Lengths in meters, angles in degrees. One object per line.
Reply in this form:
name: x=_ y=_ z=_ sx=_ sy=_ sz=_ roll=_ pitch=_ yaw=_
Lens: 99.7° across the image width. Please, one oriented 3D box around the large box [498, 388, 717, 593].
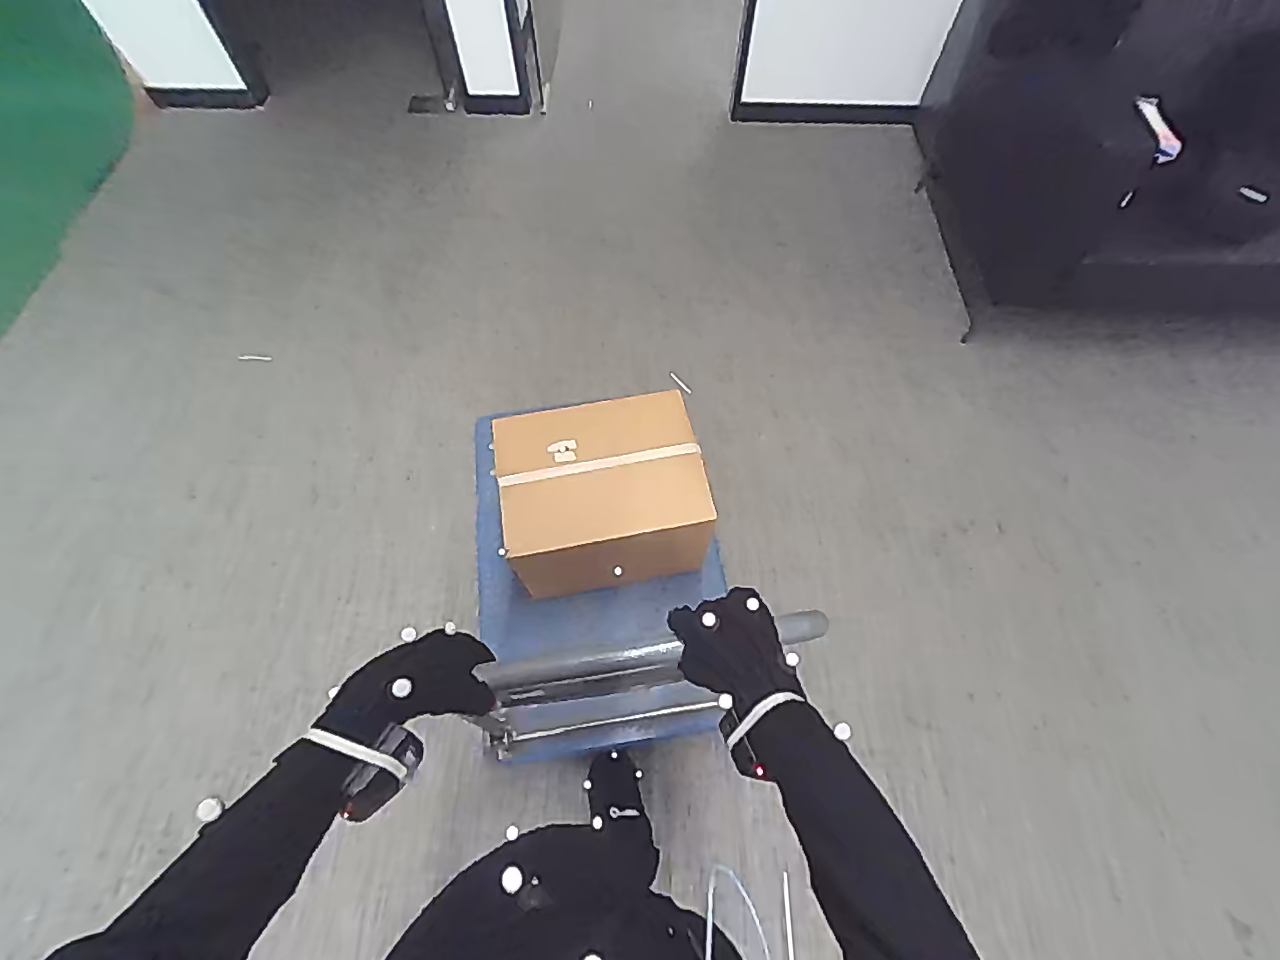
large box: x=-0.073 y=0.036 z=1.225 sx=0.408 sy=0.320 sz=0.320 roll=-11 pitch=63 yaw=-5
